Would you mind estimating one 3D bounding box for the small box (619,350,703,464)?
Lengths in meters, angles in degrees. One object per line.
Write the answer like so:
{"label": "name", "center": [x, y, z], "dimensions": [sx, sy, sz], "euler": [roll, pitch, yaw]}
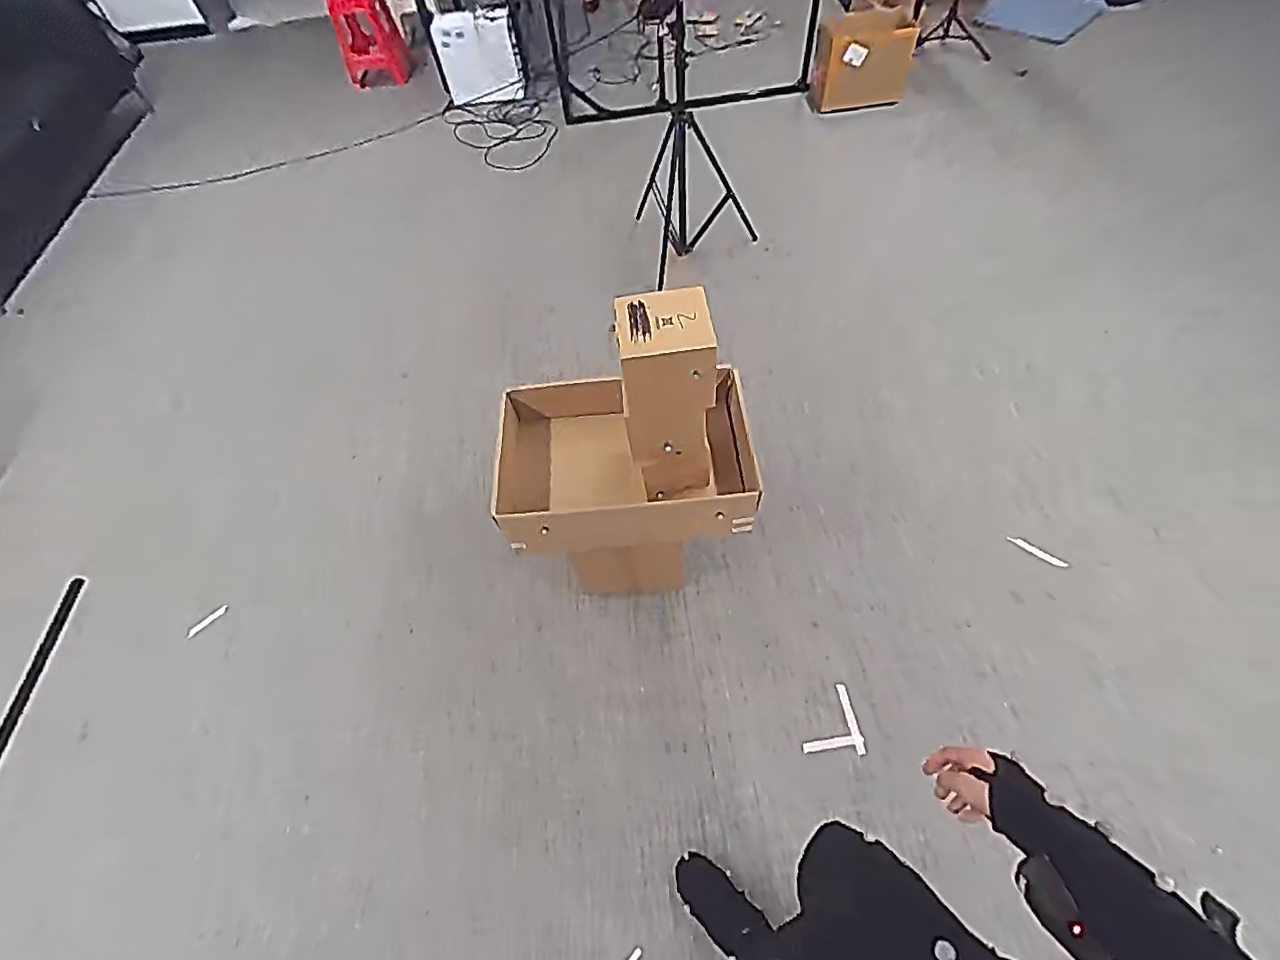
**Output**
{"label": "small box", "center": [0.046, -0.159, 1.201], "dimensions": [0.168, 0.176, 0.179], "euler": [-8, 58, 2]}
